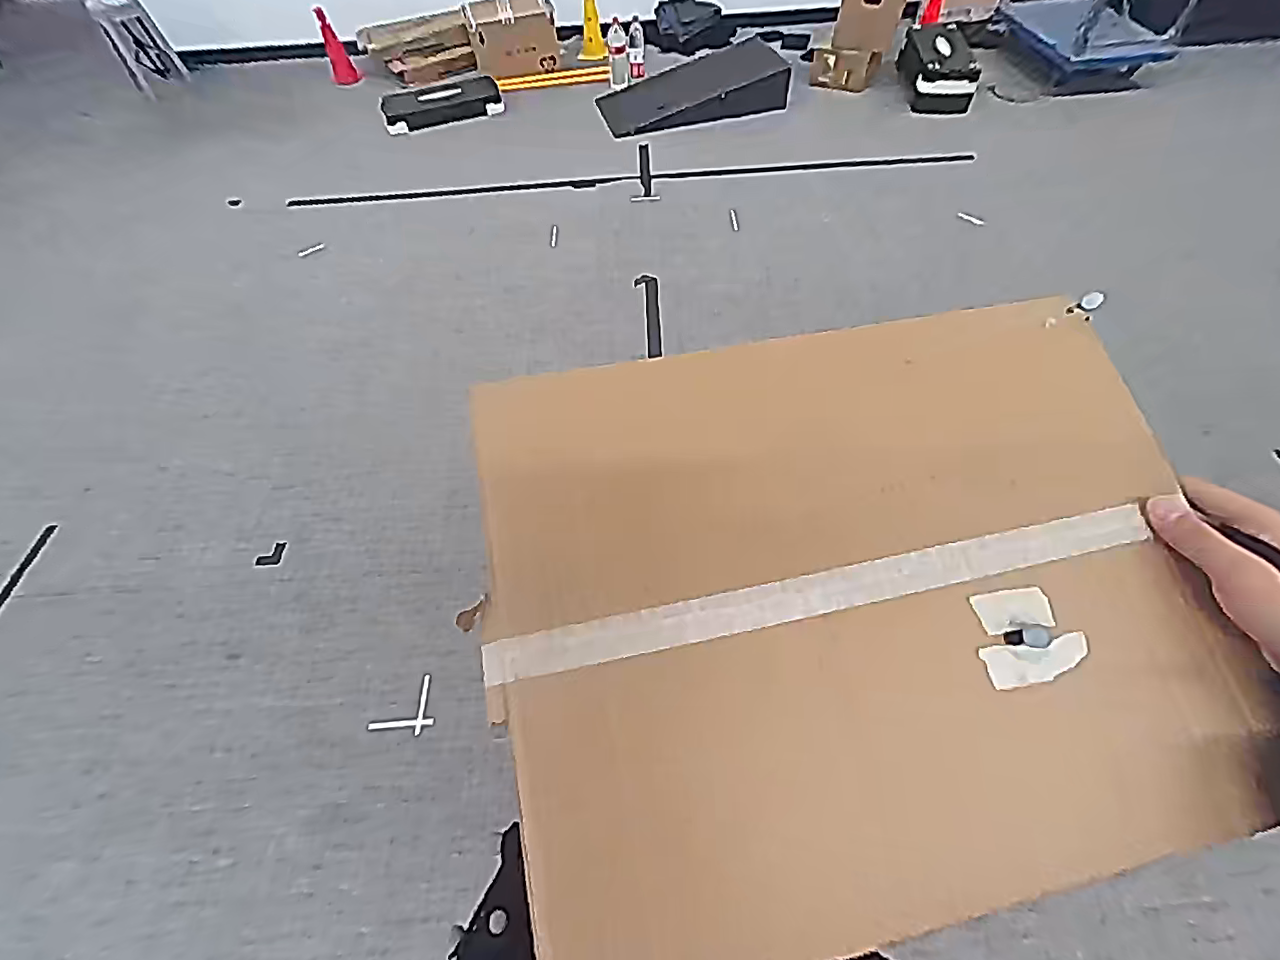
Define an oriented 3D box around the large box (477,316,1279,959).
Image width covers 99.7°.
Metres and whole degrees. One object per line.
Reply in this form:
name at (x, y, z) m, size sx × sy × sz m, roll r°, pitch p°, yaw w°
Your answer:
large box at (0.115, 0.112, 0.445) m, size 0.408 × 0.320 × 0.320 m, roll -10°, pitch 72°, yaw -8°
